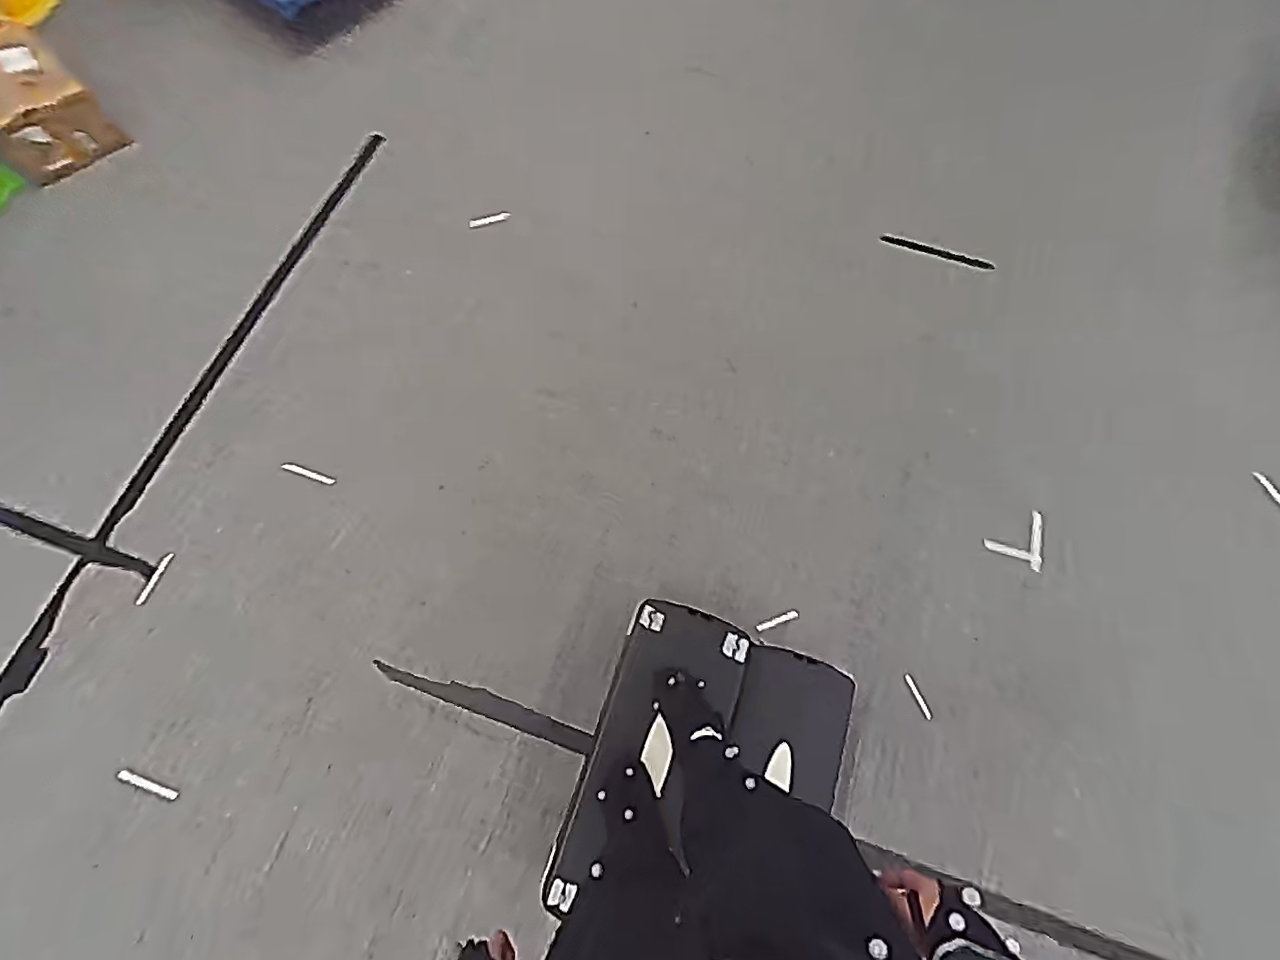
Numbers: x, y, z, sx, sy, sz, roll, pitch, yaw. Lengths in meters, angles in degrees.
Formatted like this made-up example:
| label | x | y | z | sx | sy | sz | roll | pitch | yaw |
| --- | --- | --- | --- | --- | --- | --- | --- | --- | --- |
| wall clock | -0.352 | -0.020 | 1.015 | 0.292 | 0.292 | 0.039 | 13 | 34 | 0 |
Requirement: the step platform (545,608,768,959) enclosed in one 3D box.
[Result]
| label | x | y | z | sx | sy | sz | roll | pitch | yaw |
| --- | --- | --- | --- | --- | --- | --- | --- | --- | --- |
| step platform | 0.051 | 0.645 | 1.226 | 0.286 | 0.204 | 0.684 | 22 | 69 | 6 |
